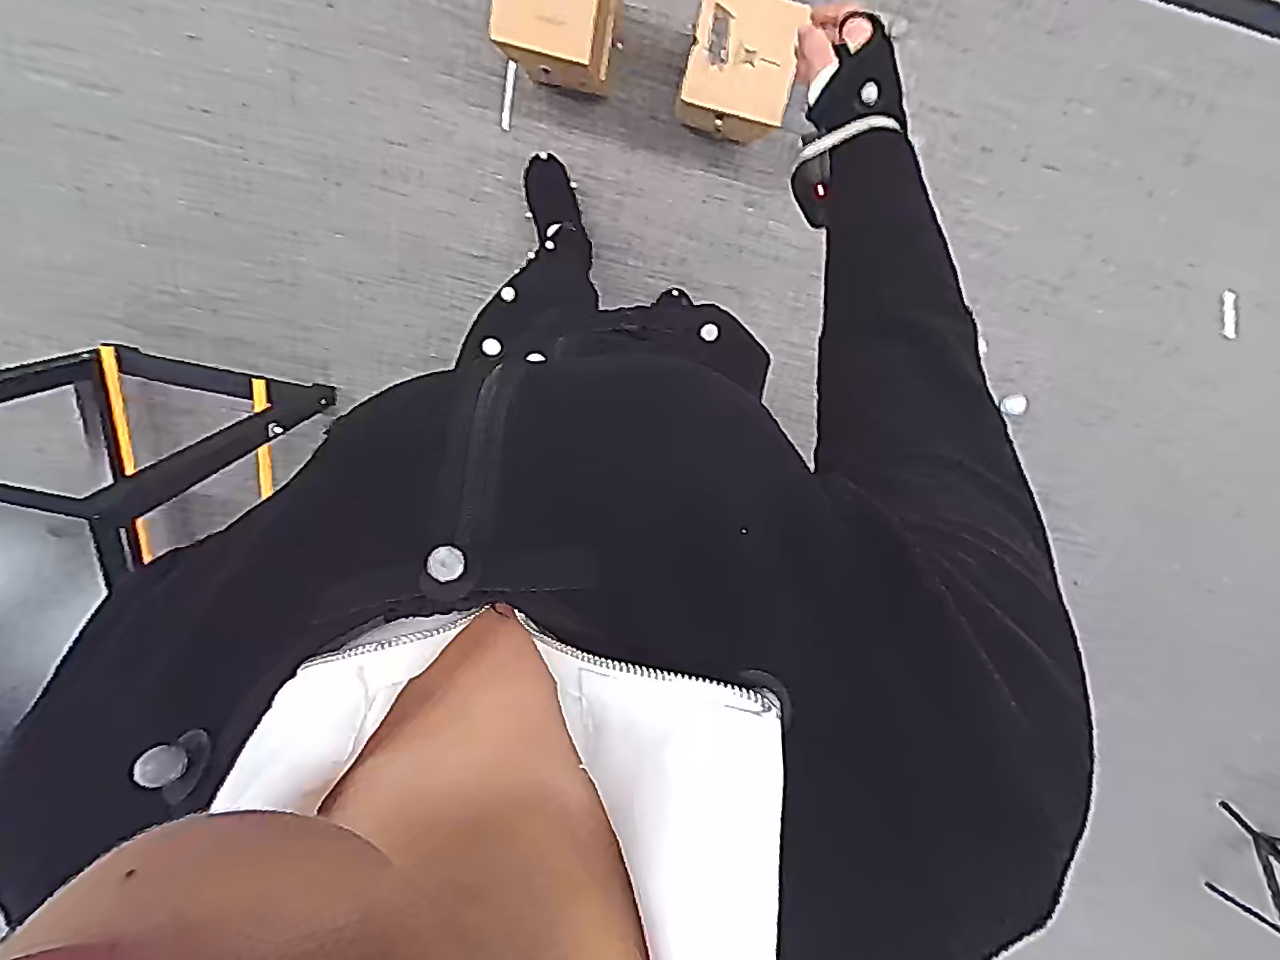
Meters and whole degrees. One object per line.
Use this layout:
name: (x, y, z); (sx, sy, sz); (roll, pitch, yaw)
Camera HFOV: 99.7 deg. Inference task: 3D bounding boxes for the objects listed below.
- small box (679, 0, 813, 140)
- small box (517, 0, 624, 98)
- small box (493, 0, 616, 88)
small box: (0.172, -0.717, 0.949); (0.179, 0.176, 0.168); (12, 116, -6)
small box: (-0.130, -0.876, 1.060); (0.179, 0.176, 0.168); (11, 115, -4)
small box: (-0.137, -0.801, 0.916); (0.168, 0.176, 0.179); (13, 117, -3)
